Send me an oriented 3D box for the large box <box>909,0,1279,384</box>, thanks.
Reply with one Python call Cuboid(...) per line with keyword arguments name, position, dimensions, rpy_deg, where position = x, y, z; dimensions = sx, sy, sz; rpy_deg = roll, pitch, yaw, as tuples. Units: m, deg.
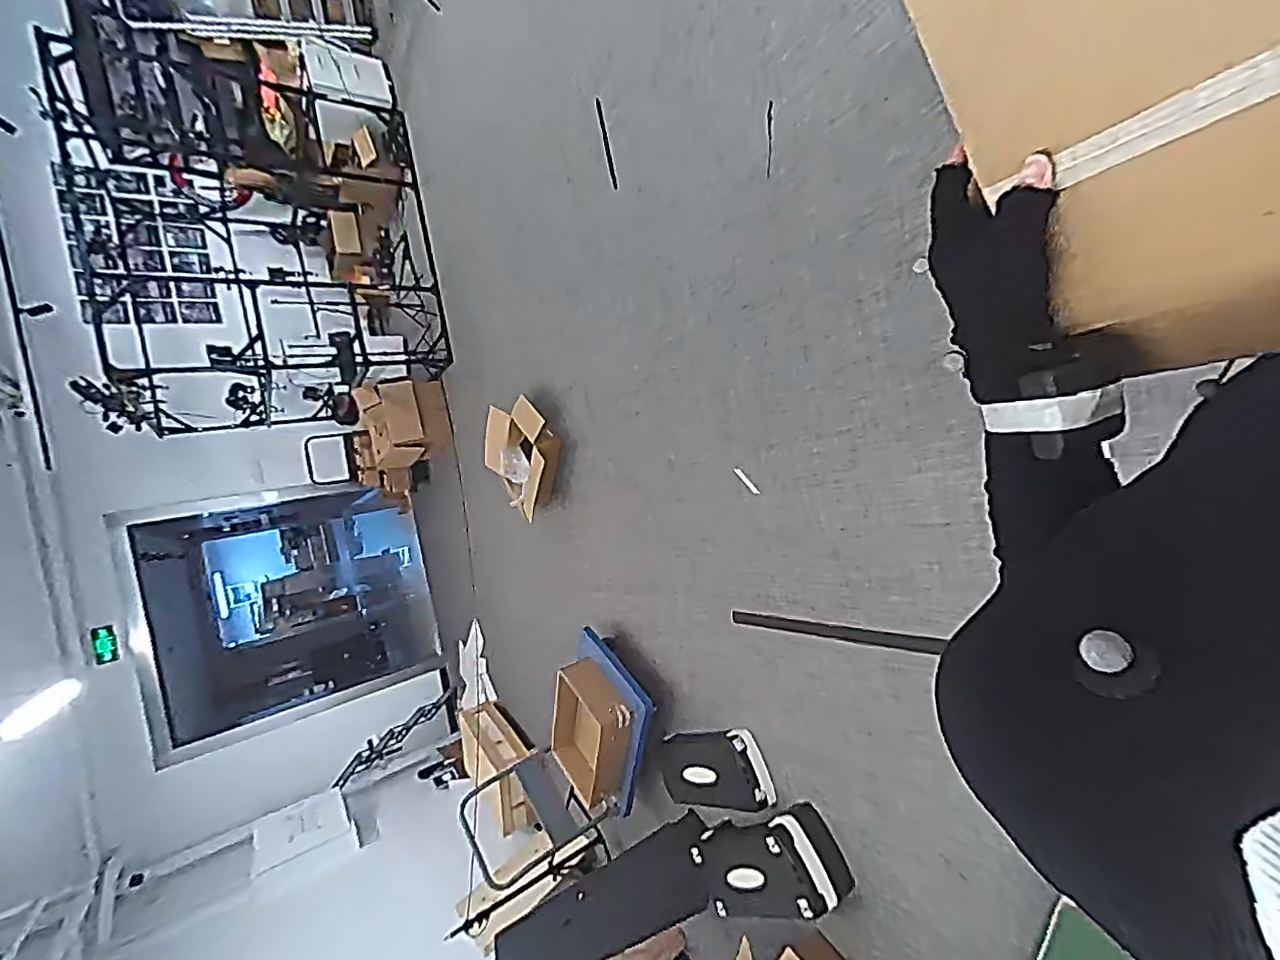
Cuboid(name="large box", position=(0.440, -0.300, 0.273), dimensions=(0.320, 0.320, 0.408), rpy_deg=(51, 152, -19))
